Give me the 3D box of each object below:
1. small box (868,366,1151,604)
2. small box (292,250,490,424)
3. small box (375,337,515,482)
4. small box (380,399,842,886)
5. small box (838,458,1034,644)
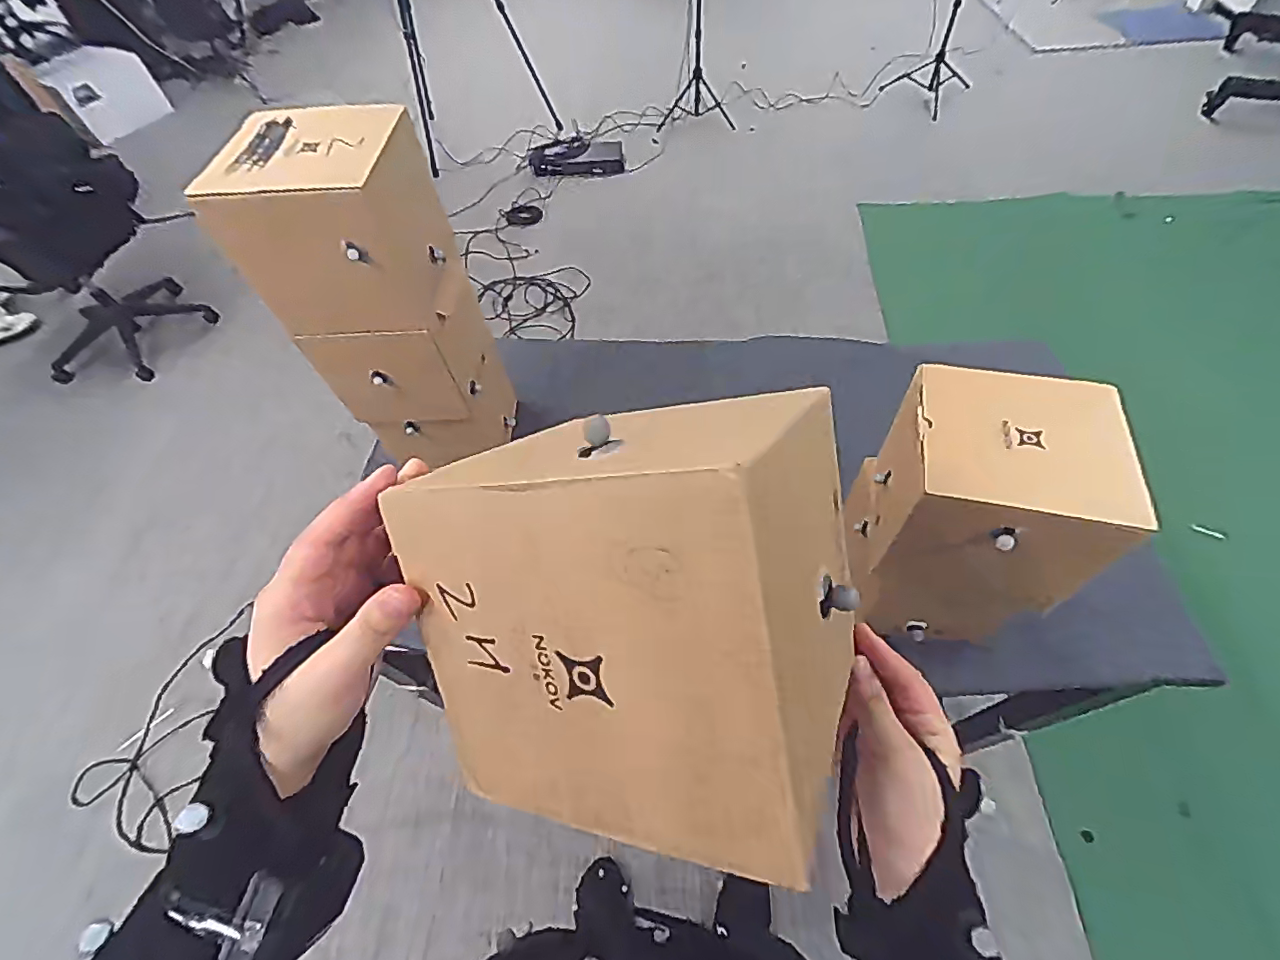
[{"bbox_3d":[0.349,0.010,0.551,0.179,0.176,0.168,10,56,13],"label":"small box"},{"bbox_3d":[-0.324,-0.192,0.750,0.179,0.176,0.168,-2,57,4],"label":"small box"},{"bbox_3d":[-0.313,-0.114,0.896,0.168,0.176,0.179,-2,56,3],"label":"small box"},{"bbox_3d":[0.007,0.057,0.291,0.179,0.168,0.176,-3,15,29],"label":"small box"},{"bbox_3d":[0.362,0.092,0.692,0.168,0.176,0.179,1,55,7],"label":"small box"}]
